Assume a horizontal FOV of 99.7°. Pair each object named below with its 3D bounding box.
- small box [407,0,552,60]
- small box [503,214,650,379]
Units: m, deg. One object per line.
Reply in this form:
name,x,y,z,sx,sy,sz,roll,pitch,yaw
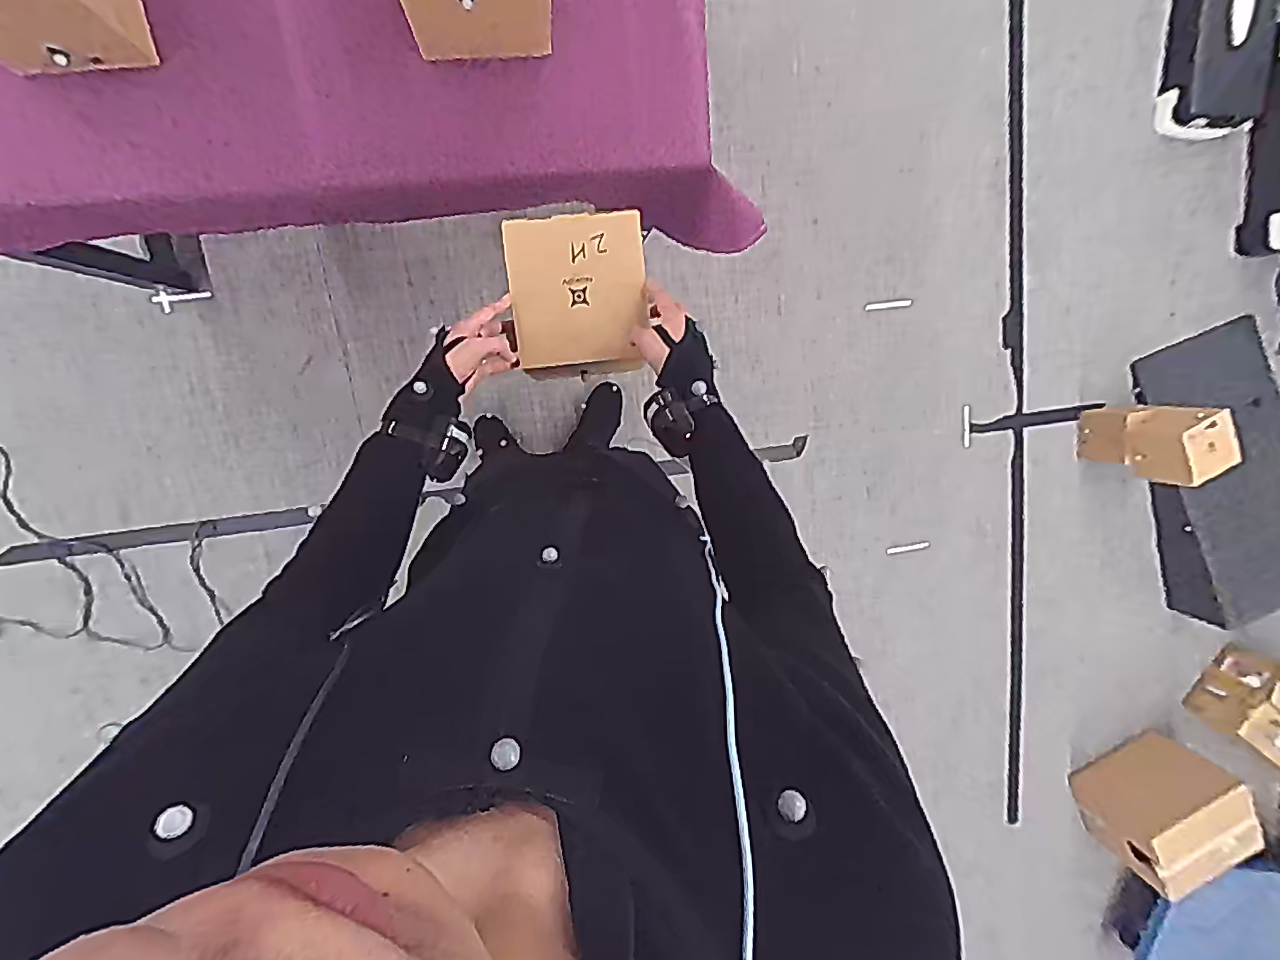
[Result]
small box,-0.204,-0.648,0.656,0.179,0.176,0.168,-9,101,-8
small box,-0.080,-0.233,0.730,0.168,0.176,0.179,-6,95,-4
